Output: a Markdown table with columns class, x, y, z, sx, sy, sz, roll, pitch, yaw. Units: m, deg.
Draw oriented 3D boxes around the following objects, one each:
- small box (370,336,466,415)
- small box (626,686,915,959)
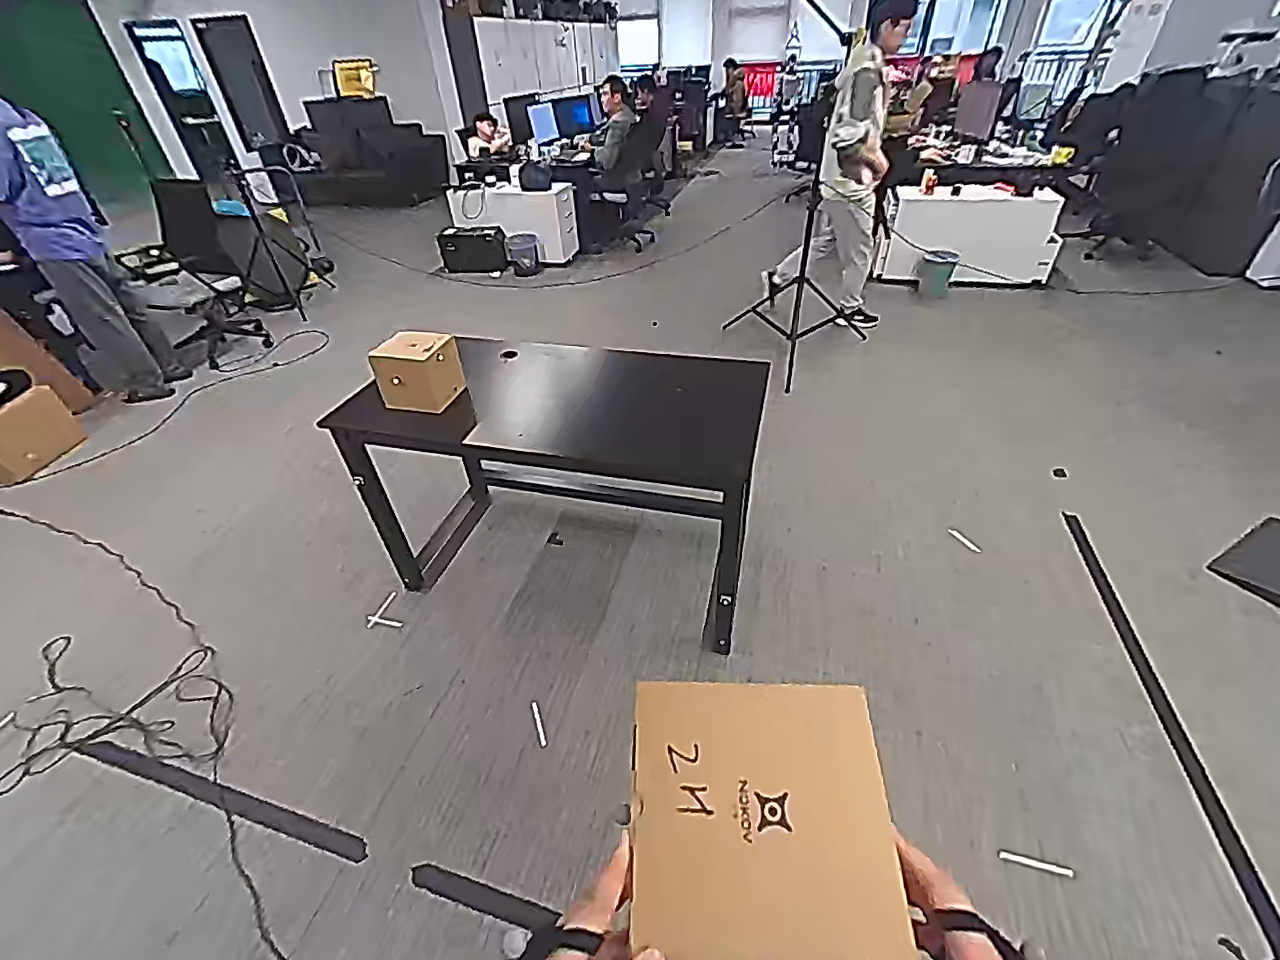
| class | x | y | z | sx | sy | sz | roll | pitch | yaw |
| --- | --- | --- | --- | --- | --- | --- | --- | --- | --- |
| small box | -0.633 | -0.301 | 1.563 | 0.179 | 0.176 | 0.168 | 6 | 39 | 12 |
| small box | 0.081 | 0.271 | 0.431 | 0.179 | 0.176 | 0.168 | 0 | 55 | 2 |
